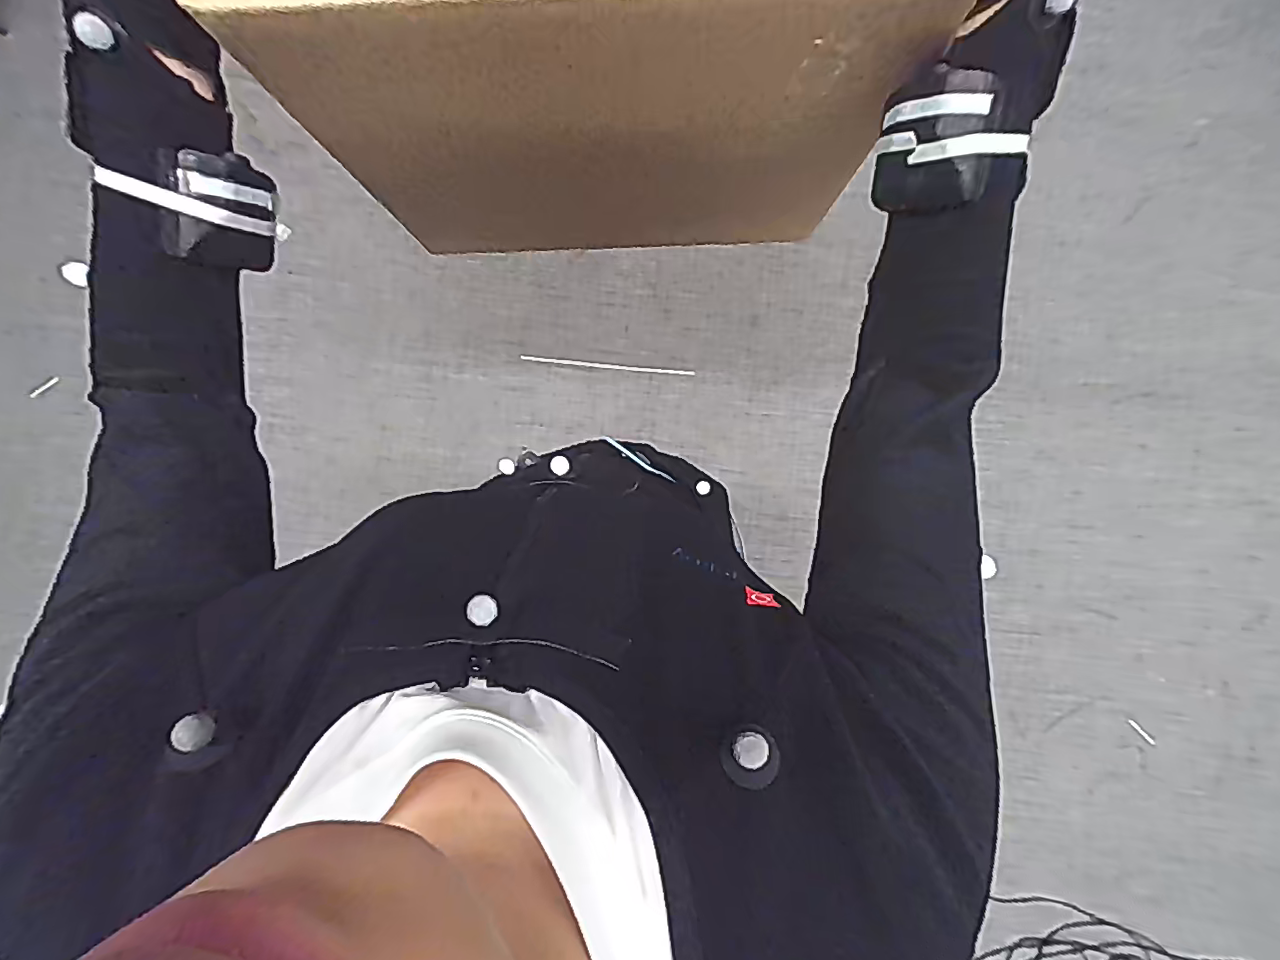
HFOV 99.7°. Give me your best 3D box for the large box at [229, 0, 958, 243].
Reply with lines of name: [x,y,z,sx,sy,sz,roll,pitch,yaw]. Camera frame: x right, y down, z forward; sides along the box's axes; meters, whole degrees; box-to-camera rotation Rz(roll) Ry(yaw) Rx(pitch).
large box: [-0.027,-0.405,0.418,0.408,0.320,0.320,-2,92,-1]
